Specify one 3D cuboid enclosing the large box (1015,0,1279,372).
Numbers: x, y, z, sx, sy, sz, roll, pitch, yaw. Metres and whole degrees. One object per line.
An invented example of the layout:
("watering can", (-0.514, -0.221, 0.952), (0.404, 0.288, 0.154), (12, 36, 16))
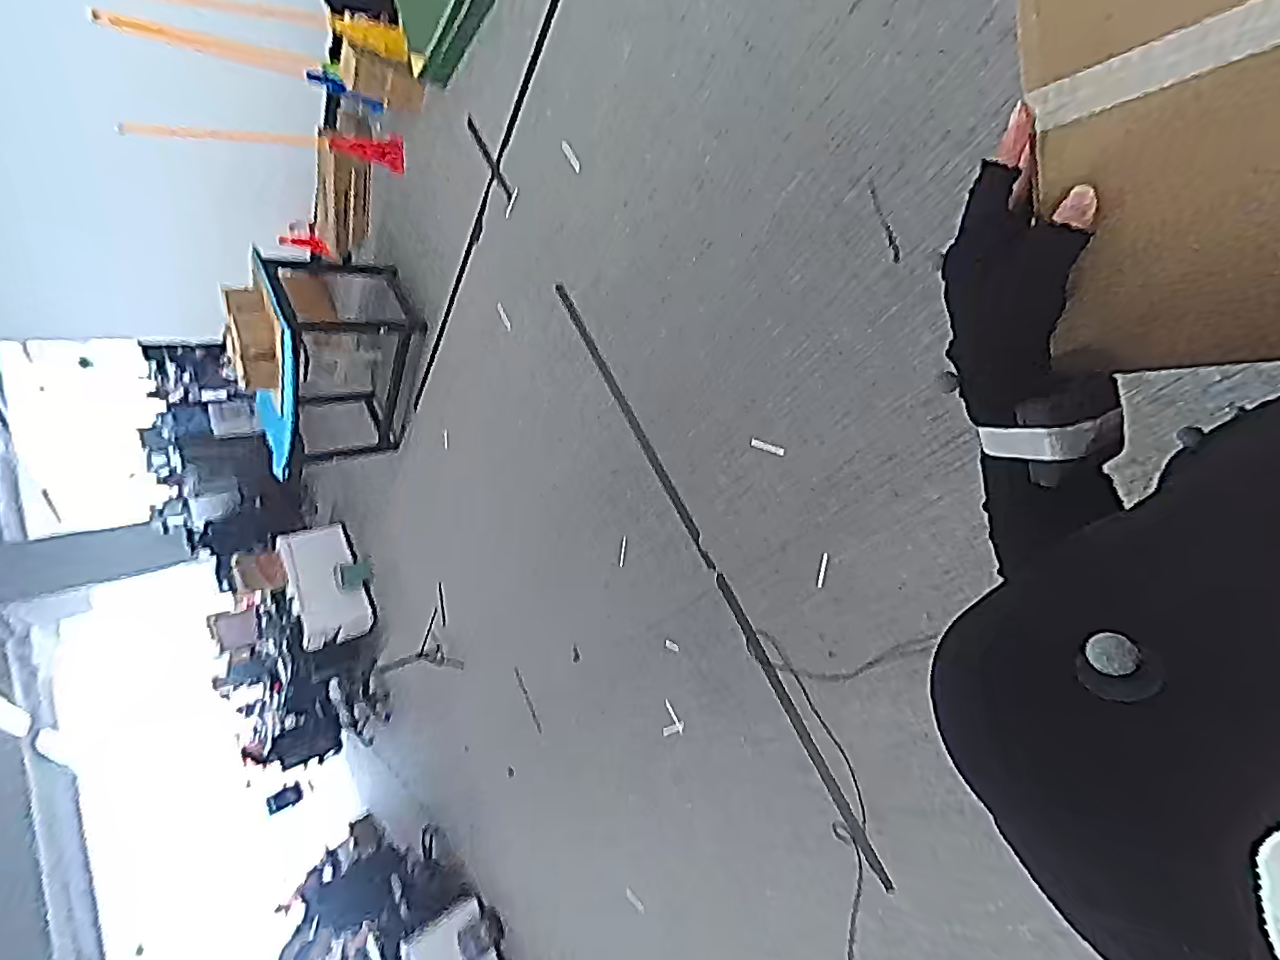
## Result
("large box", (0.450, -0.272, 0.249), (0.408, 0.320, 0.320), (3, 122, 47))
